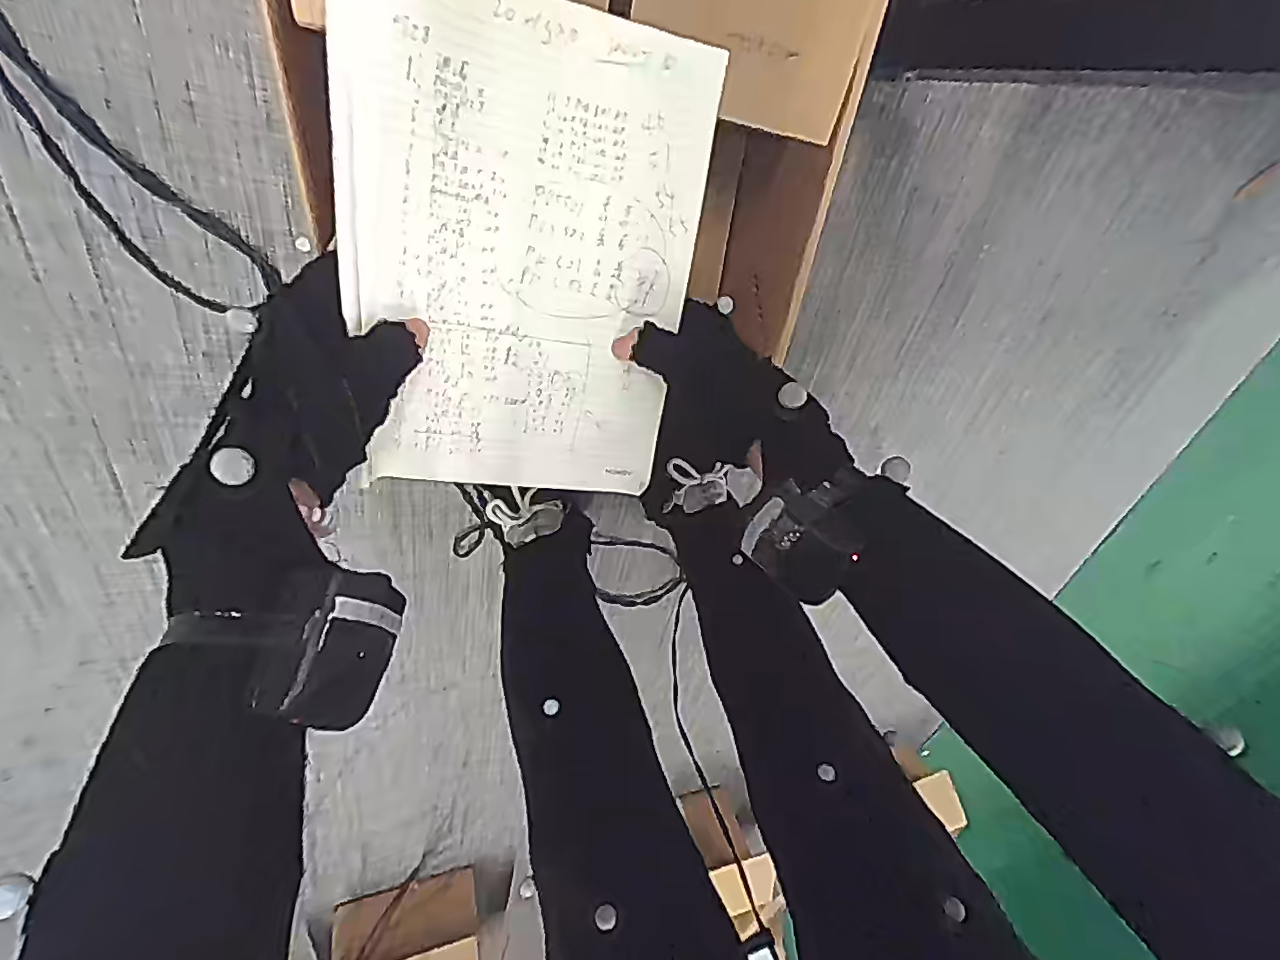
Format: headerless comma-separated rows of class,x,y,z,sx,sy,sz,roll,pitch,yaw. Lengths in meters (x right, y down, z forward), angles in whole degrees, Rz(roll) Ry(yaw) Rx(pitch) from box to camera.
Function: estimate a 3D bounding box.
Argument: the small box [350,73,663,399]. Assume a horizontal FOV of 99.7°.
small box,-0.111,-0.175,0.397,0.179,0.176,0.168,1,123,-26
